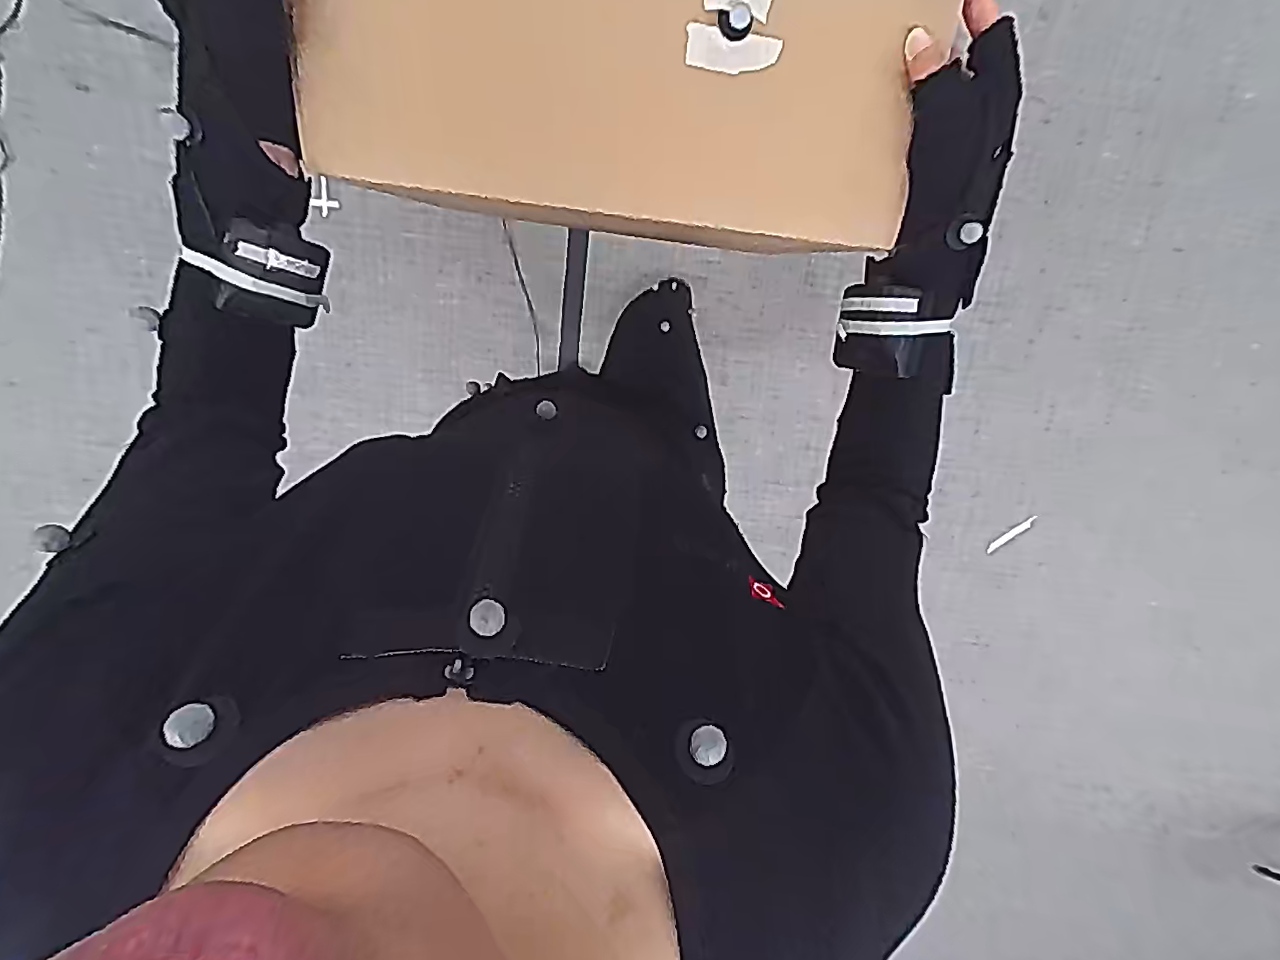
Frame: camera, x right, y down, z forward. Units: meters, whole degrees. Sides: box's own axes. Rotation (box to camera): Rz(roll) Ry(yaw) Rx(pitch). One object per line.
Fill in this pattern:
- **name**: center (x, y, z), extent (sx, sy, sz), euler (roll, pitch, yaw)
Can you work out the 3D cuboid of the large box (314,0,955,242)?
- **large box**: center (-0.002, -0.392, 0.458), extent (0.408, 0.320, 0.320), euler (5, 112, -4)
